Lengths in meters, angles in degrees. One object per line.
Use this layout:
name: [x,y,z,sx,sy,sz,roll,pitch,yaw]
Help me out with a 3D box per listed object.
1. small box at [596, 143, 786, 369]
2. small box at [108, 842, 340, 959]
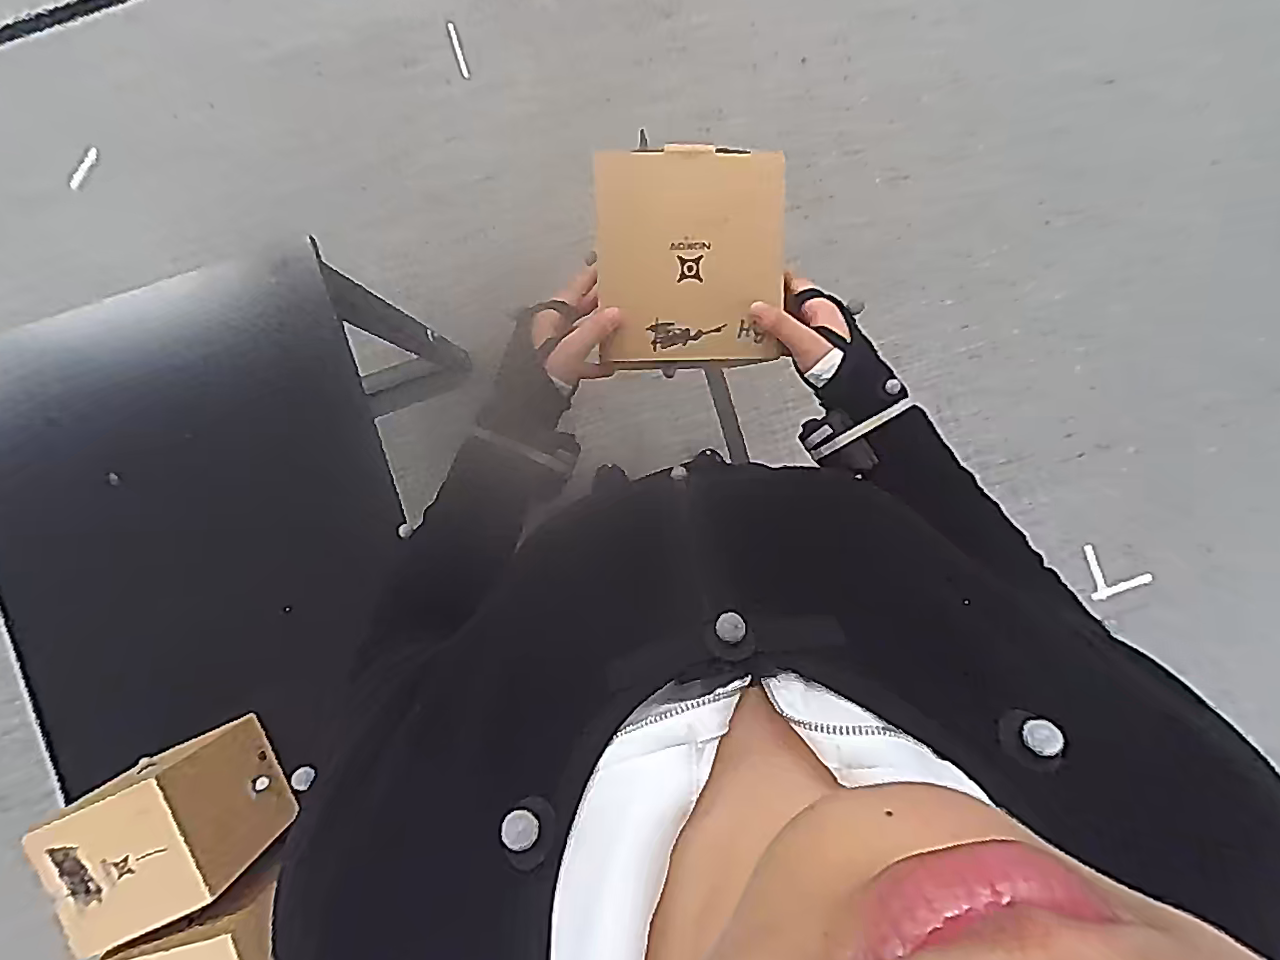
small box: [0.041,-0.208,0.546,0.168,0.176,0.179,-2,98,-2]
small box: [-0.529,0.621,0.713,0.179,0.176,0.168,-15,90,2]
